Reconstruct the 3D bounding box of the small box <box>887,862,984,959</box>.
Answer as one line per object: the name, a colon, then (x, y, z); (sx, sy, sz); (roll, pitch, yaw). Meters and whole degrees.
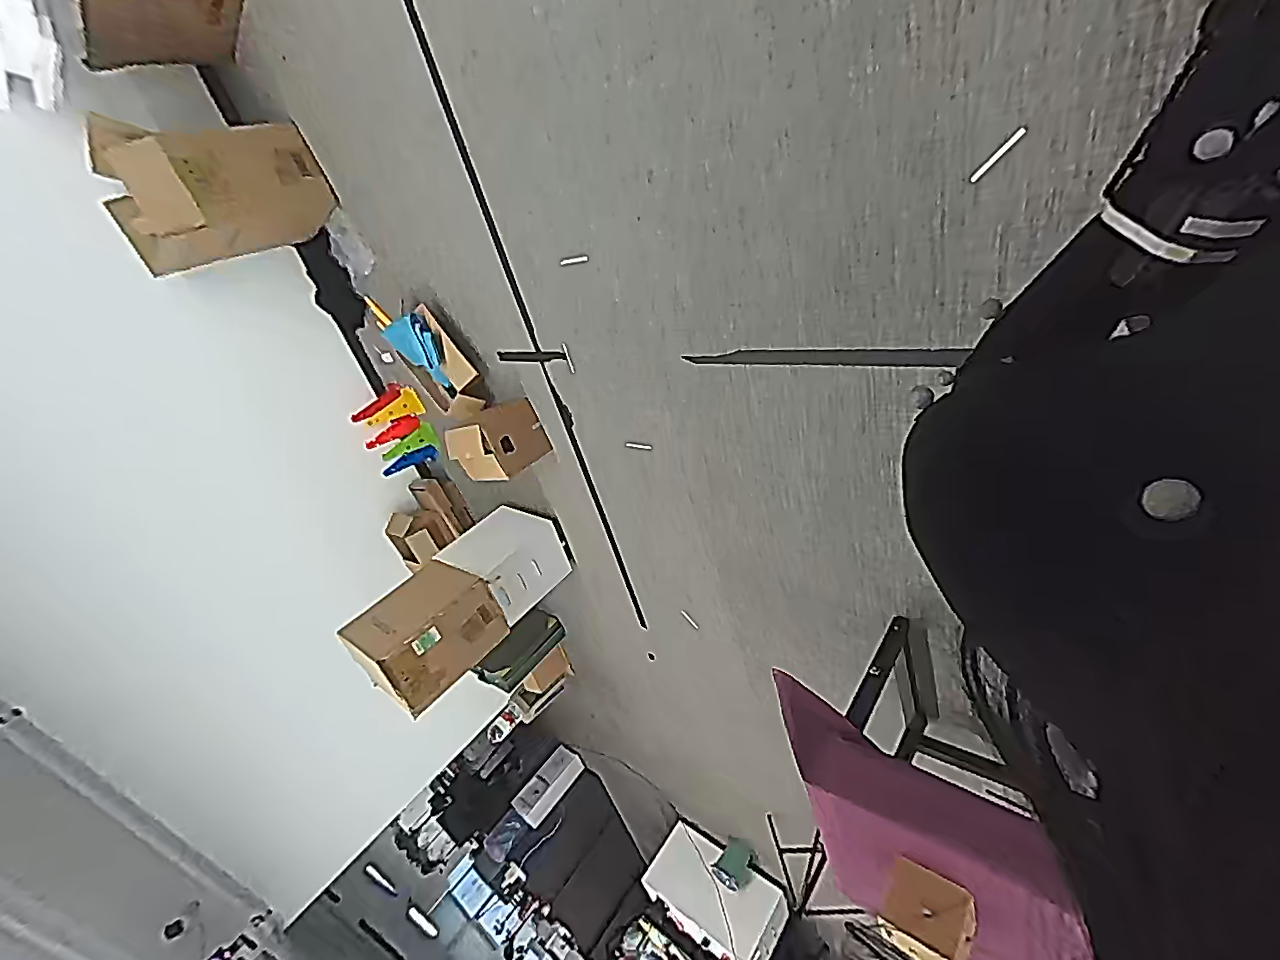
small box: (0.742, 1.109, 1.349); (0.179, 0.176, 0.168); (5, 125, 44)
